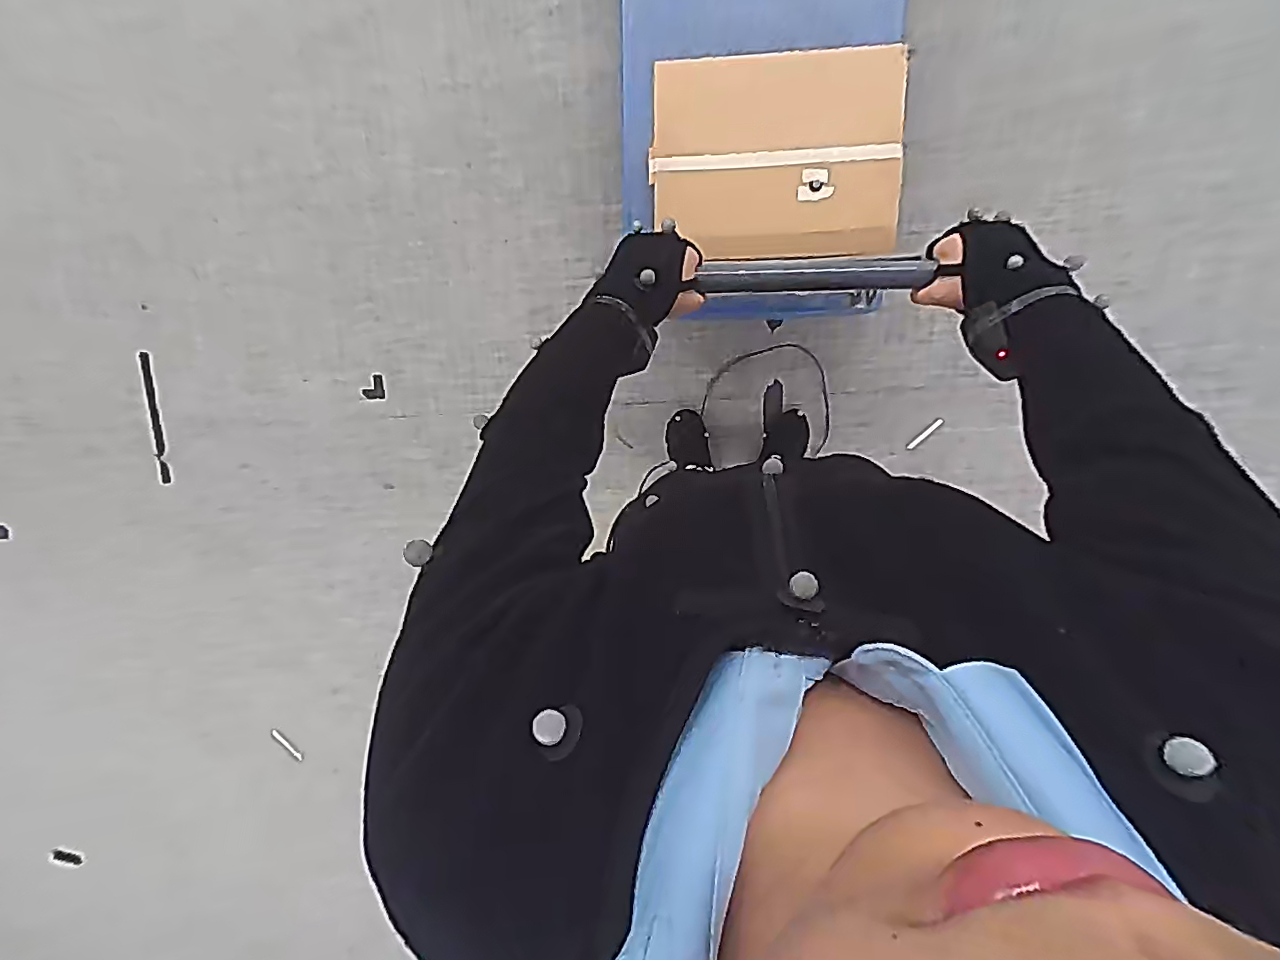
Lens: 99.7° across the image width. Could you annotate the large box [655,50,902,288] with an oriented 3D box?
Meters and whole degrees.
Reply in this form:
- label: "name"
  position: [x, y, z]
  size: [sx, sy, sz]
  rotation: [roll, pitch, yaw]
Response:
- label: "large box"
  position: [0.240, -0.568, 1.061]
  size: [0.408, 0.320, 0.320]
  rotation: [0, 102, 5]
